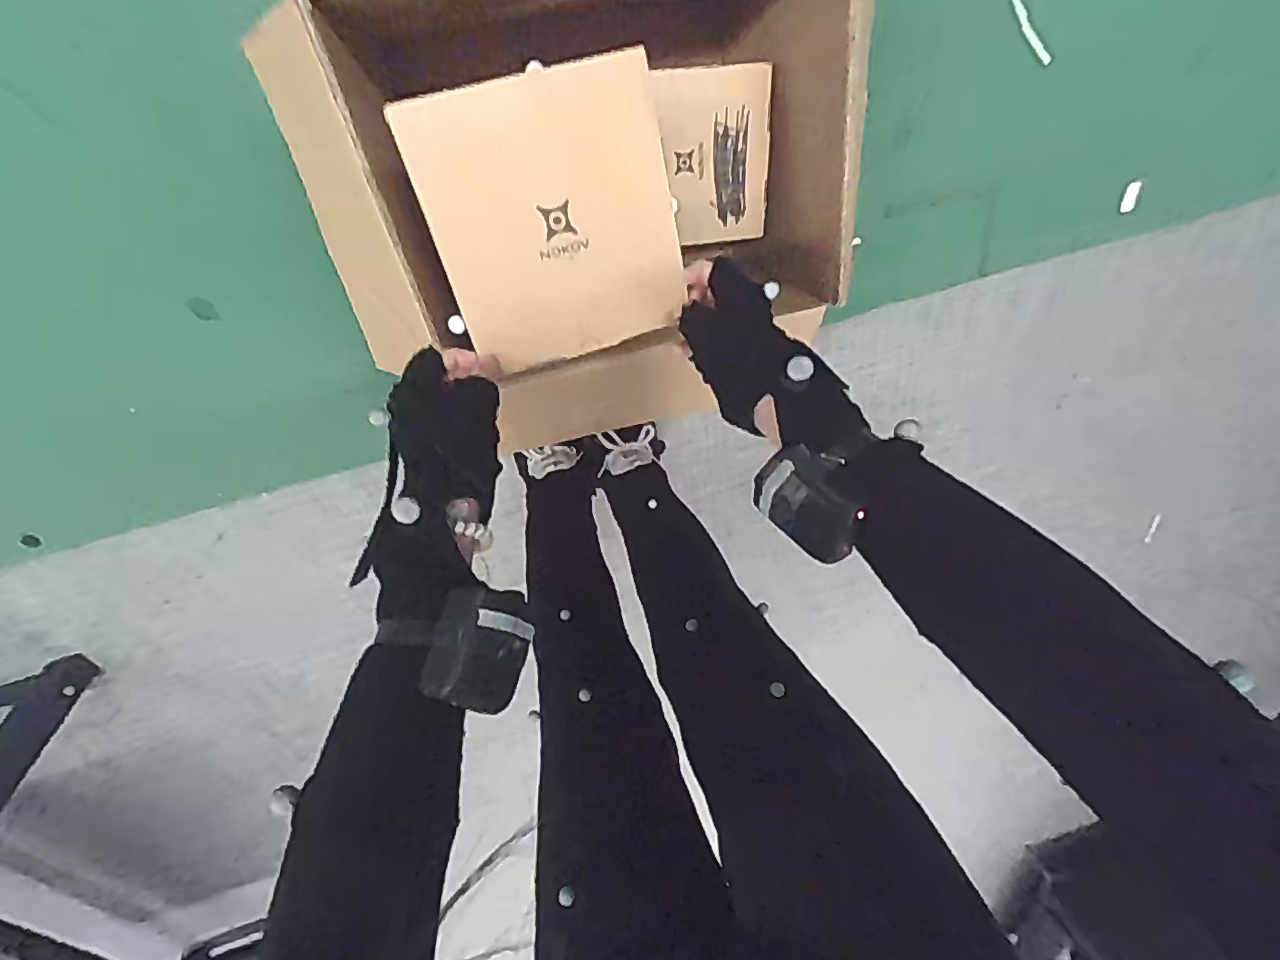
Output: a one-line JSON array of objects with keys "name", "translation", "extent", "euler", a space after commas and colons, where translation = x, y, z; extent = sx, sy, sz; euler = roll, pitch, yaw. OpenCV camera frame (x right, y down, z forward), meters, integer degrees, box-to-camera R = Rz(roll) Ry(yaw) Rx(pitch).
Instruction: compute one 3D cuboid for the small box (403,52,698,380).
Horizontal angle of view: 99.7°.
[{"name": "small box", "translation": [-0.070, -0.205, 0.436], "extent": [0.168, 0.176, 0.179], "euler": [-19, 121, -8]}]
